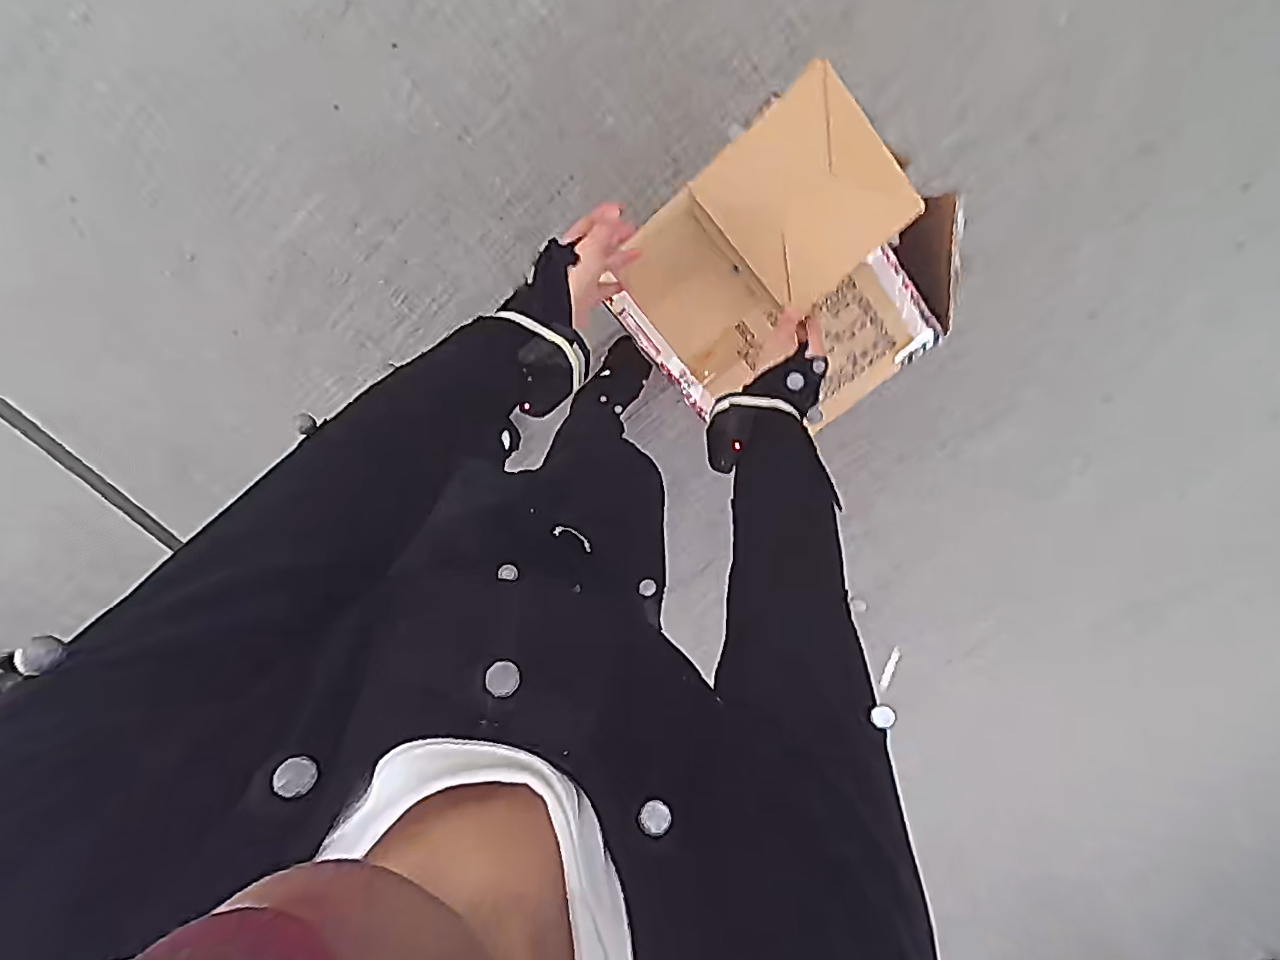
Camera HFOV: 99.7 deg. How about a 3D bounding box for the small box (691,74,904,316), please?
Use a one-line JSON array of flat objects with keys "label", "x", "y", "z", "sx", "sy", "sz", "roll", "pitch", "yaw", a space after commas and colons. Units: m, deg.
[{"label": "small box", "x": 0.174, "y": -0.310, "z": 0.626, "sx": 0.168, "sy": 0.176, "sz": 0.179, "roll": -39, "pitch": 104, "yaw": 16}]
